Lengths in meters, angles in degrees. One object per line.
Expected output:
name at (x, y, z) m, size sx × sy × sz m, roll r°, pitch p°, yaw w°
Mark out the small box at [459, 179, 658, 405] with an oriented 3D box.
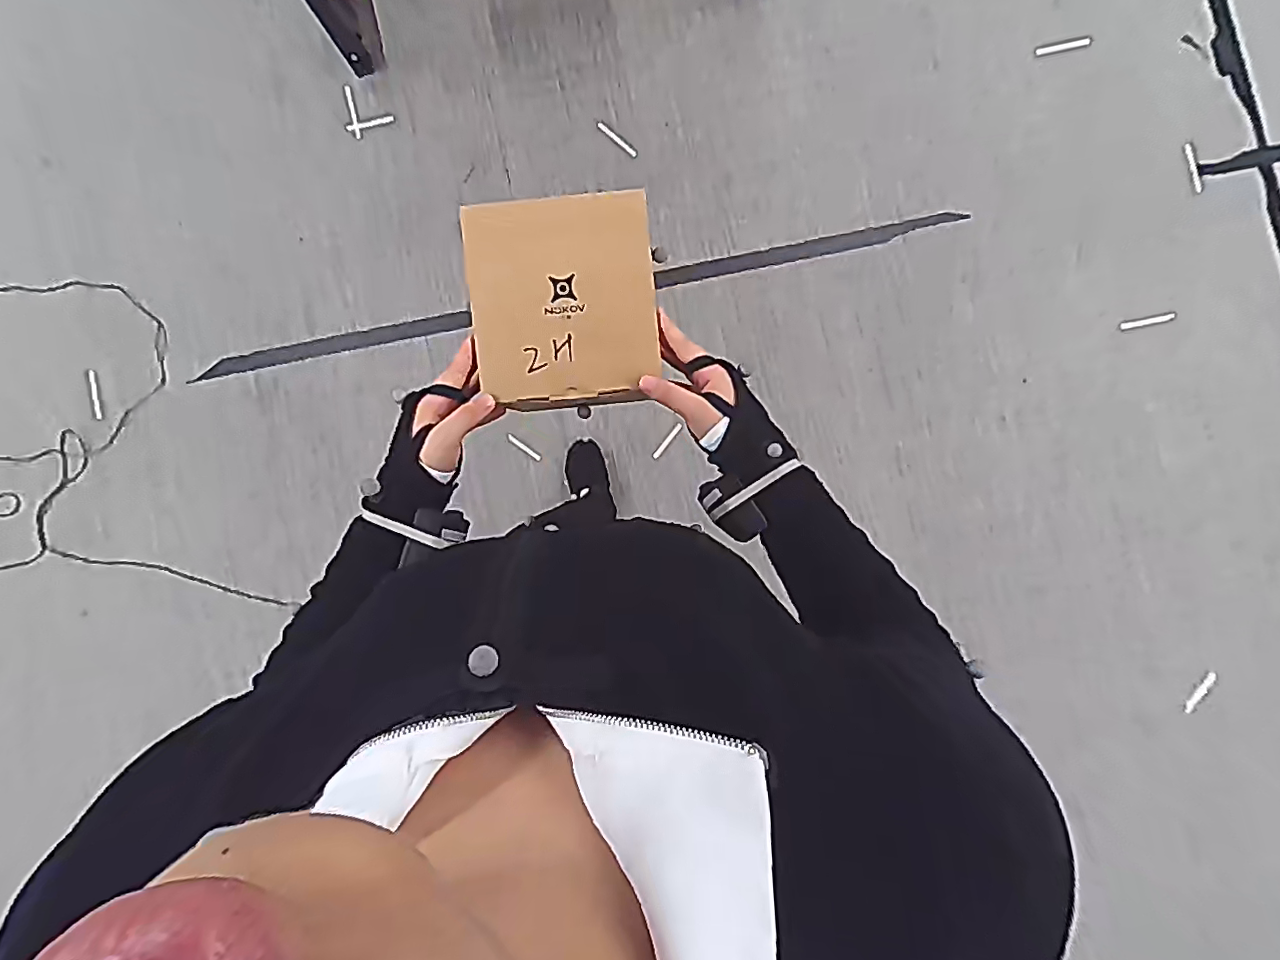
small box at (-0.072, -0.177, 0.557) m, size 0.168 × 0.176 × 0.179 m, roll -5°, pitch 95°, yaw 1°
